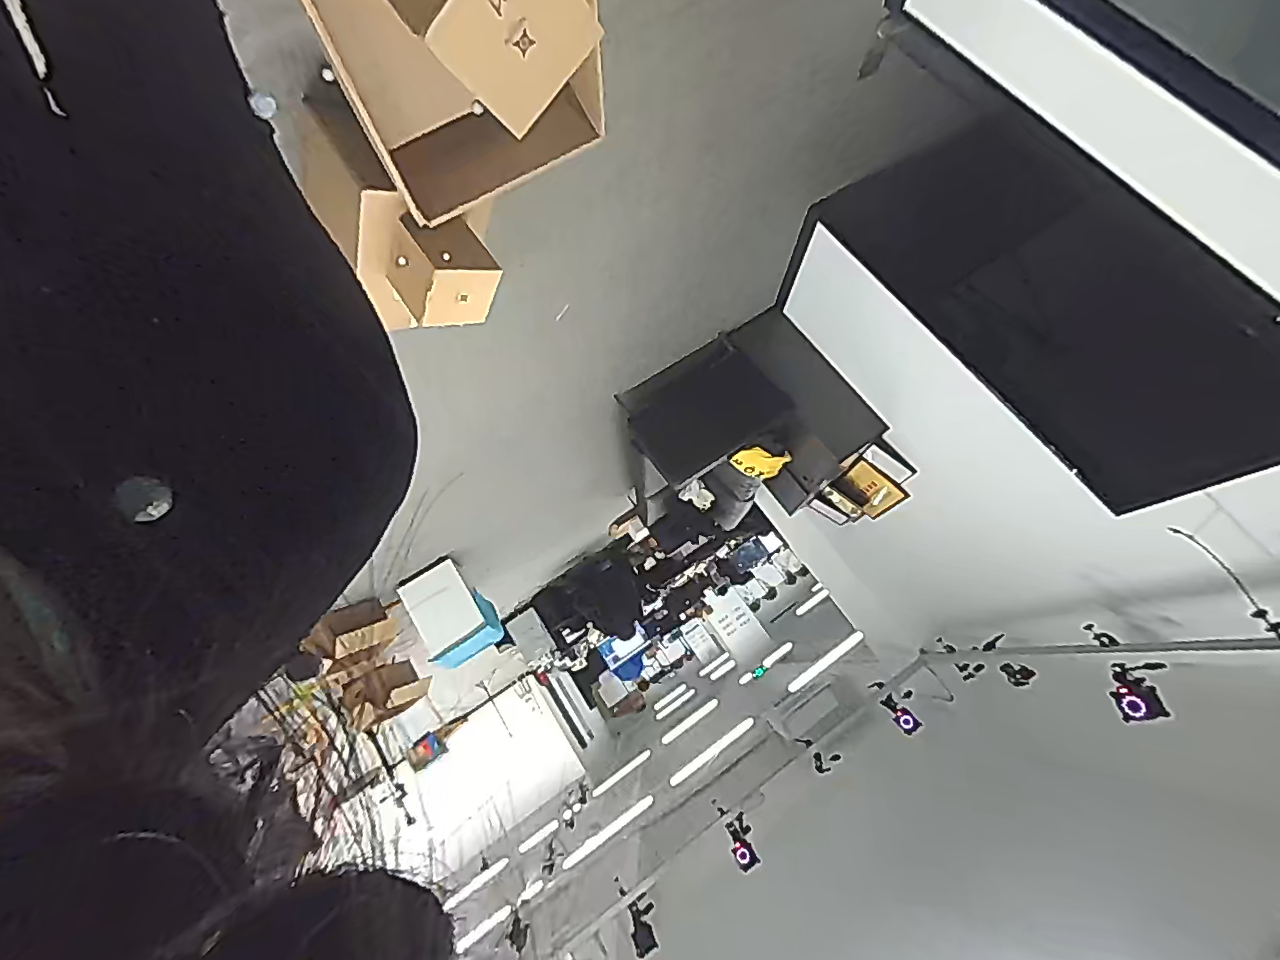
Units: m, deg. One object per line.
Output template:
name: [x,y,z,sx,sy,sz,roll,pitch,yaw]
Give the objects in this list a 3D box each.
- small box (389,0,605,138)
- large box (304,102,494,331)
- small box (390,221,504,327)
small box: [-0.178,-0.564,0.632,0.168,0.176,0.179,-41,162,17]
large box: [-0.619,-0.651,1.371,0.320,0.320,0.408,-22,161,-39]
small box: [-0.458,-0.486,1.280,0.179,0.176,0.168,-21,159,-44]
